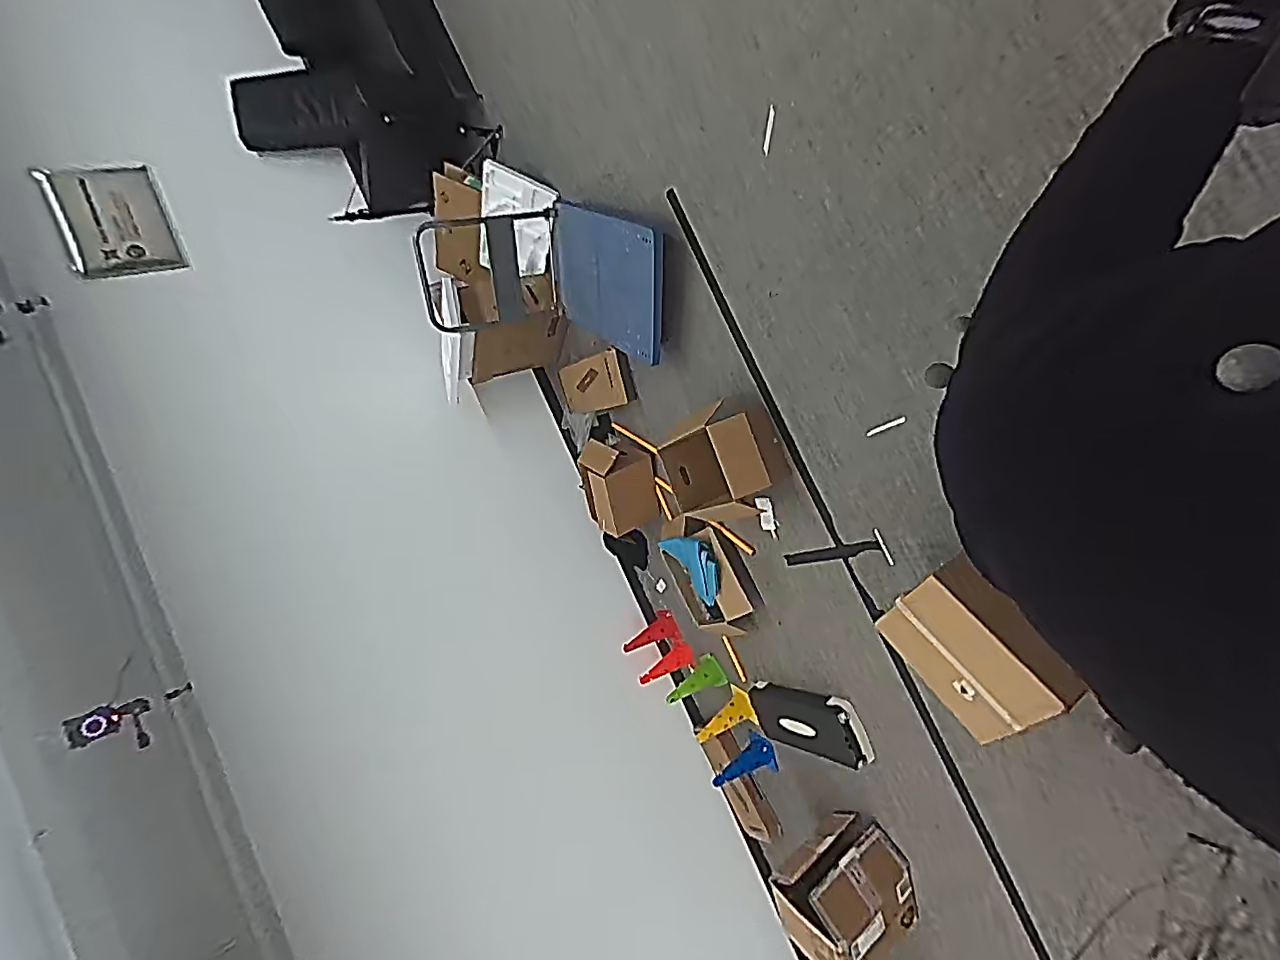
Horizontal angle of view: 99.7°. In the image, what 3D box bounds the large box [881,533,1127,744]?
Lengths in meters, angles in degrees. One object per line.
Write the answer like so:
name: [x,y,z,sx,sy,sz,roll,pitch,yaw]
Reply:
large box: [0.977,0.425,1.493,0.408,0.320,0.320,51,149,27]
